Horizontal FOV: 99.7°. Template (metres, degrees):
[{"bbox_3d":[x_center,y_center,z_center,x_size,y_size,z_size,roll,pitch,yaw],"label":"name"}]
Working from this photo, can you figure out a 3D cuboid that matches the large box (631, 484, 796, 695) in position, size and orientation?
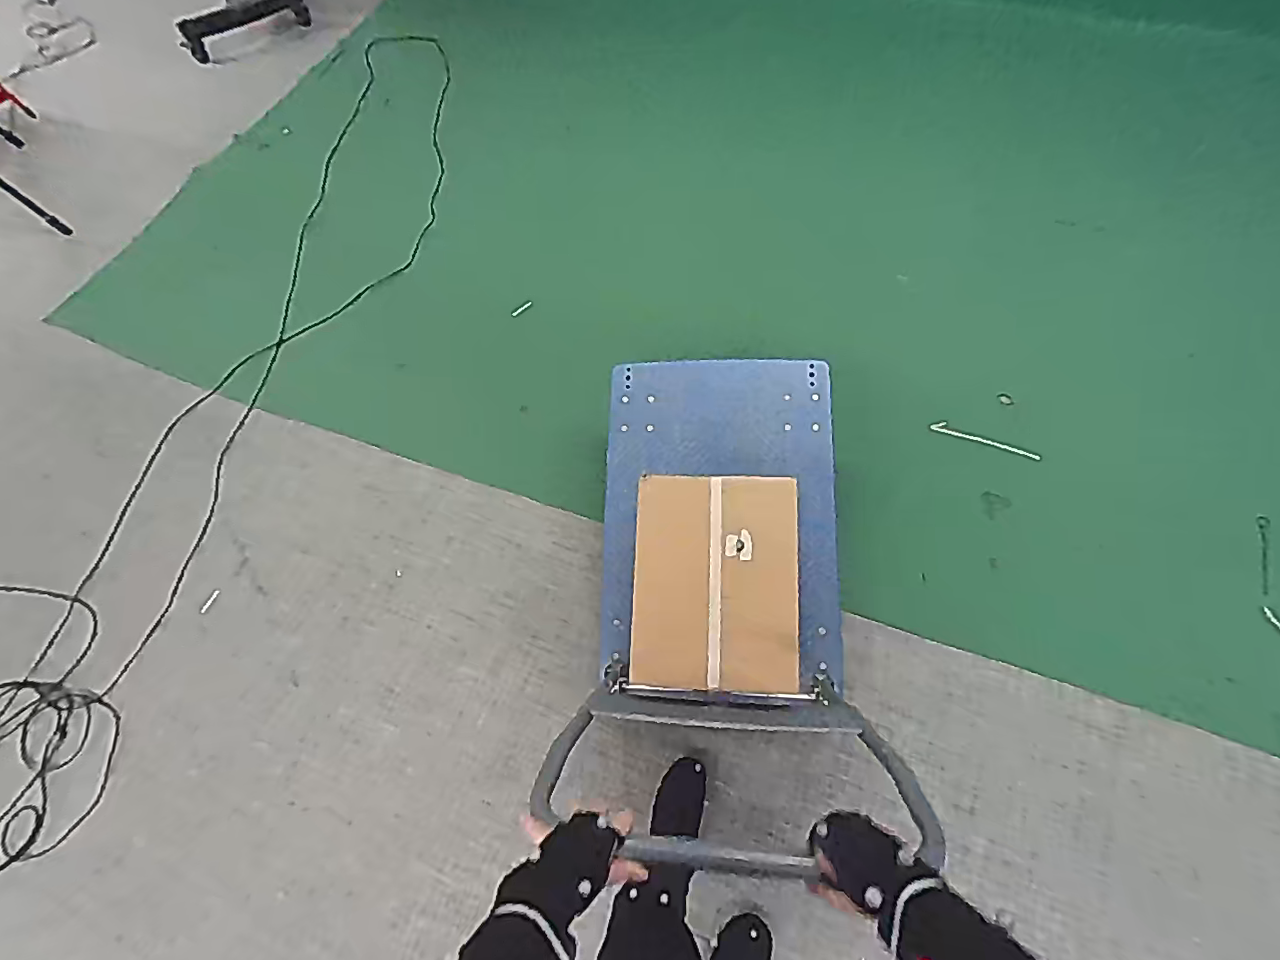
[{"bbox_3d":[0.161,0.236,1.196,0.320,0.320,0.408,1,78,8],"label":"large box"}]
